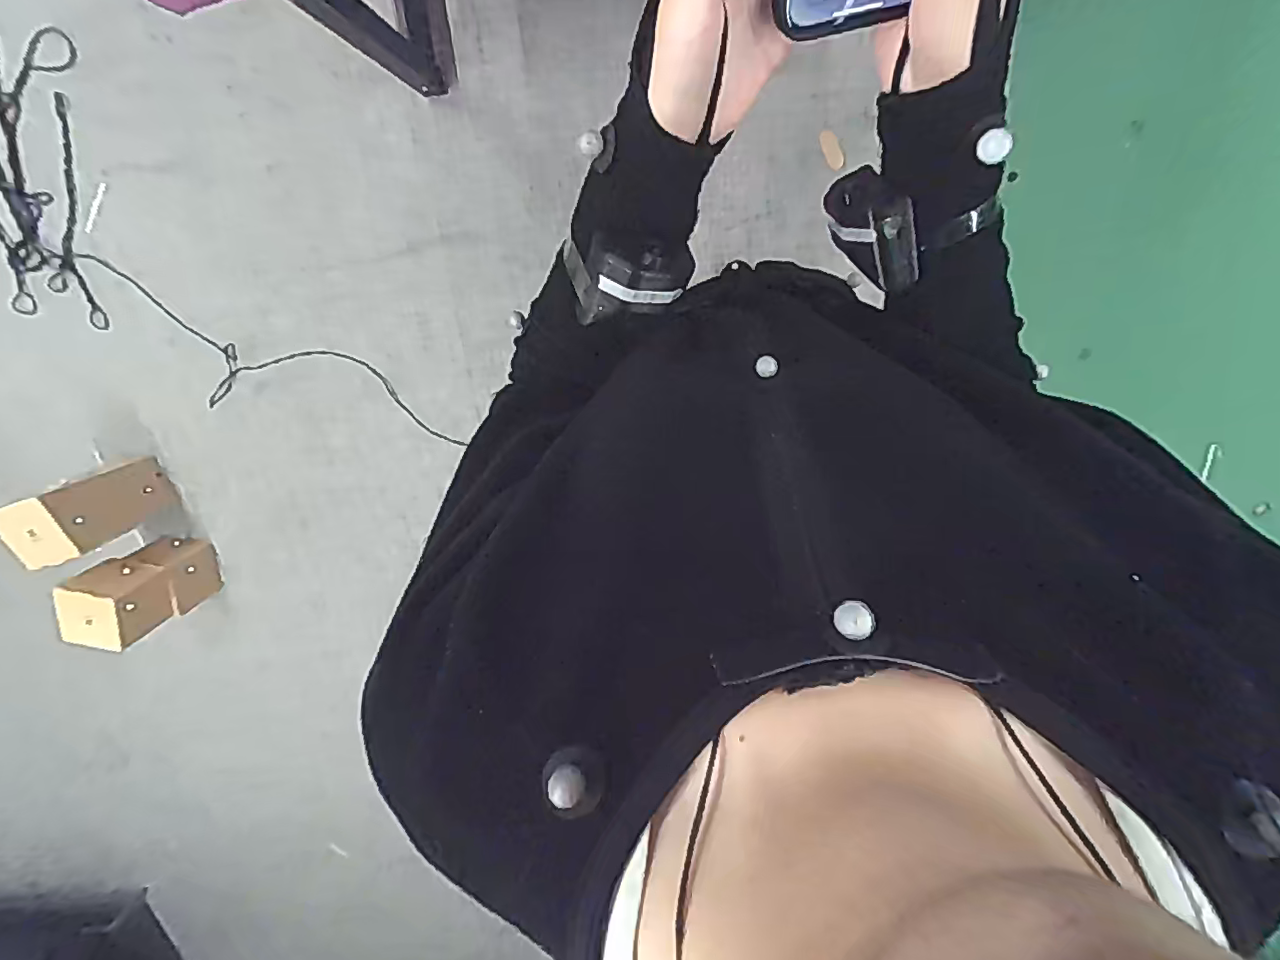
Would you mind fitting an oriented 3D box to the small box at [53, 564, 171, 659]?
[{"bbox_3d":[-1.468,0.365,1.516,0.168,0.176,0.179,12,110,-1],"label":"small box"}]

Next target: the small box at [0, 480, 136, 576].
[{"bbox_3d":[-1.507,0.122,1.425,0.168,0.176,0.179,-15,109,8],"label":"small box"}]

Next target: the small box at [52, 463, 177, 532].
[{"bbox_3d":[-1.513,0.060,1.576,0.179,0.176,0.168,-11,110,7],"label":"small box"}]
